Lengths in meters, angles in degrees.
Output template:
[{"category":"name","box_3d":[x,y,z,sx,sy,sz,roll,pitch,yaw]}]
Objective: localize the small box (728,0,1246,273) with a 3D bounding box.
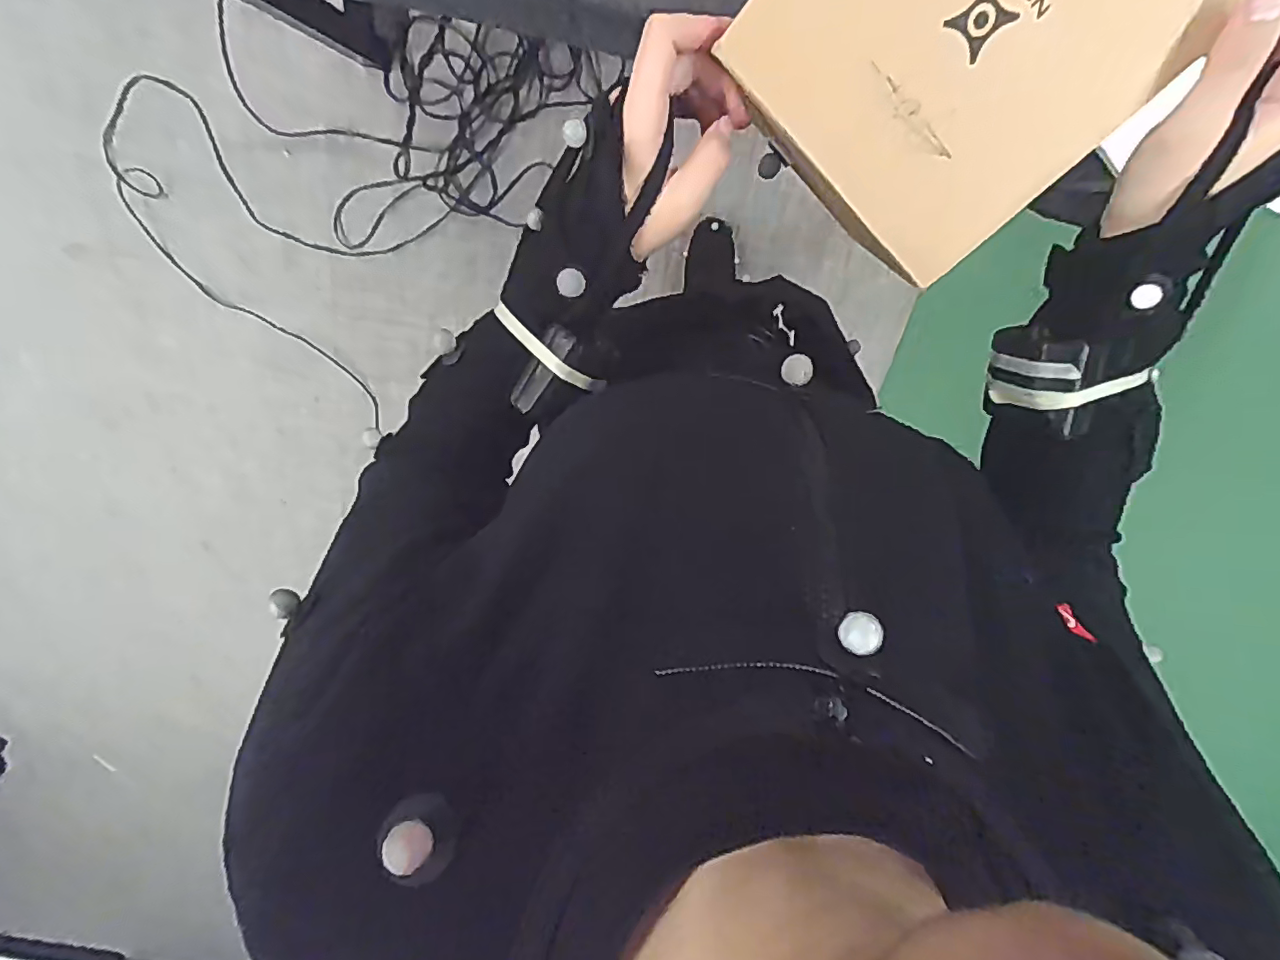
[{"category":"small box","box_3d":[0.162,-0.256,0.302,0.168,0.176,0.179,38,121,-16]}]
